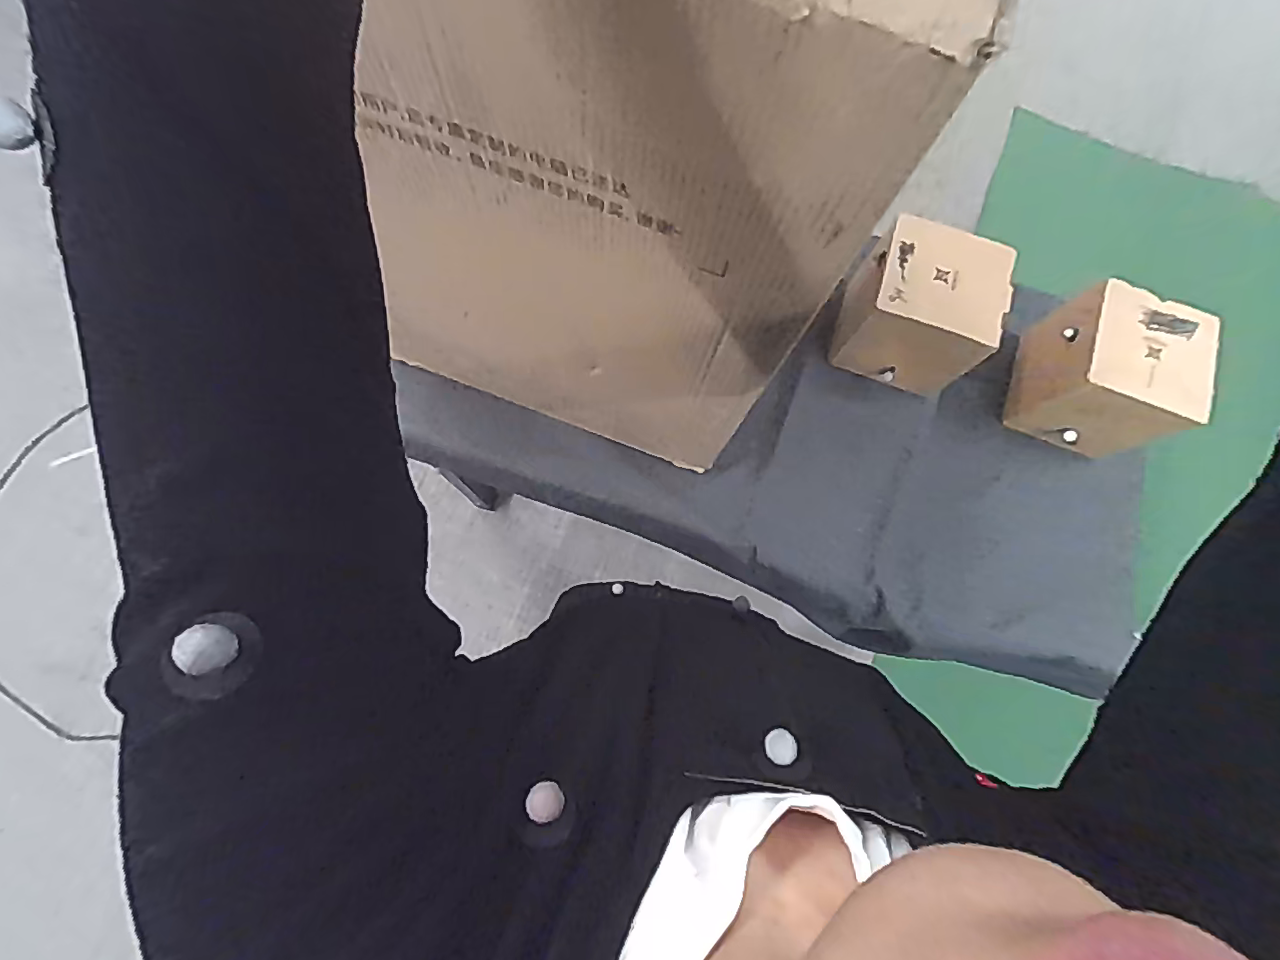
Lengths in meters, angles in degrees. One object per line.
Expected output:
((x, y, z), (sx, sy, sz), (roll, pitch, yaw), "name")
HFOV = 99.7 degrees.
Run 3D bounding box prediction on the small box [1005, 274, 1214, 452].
((0.698, -0.167, 0.820), (0.168, 0.176, 0.179), (22, 76, 2), "small box")
